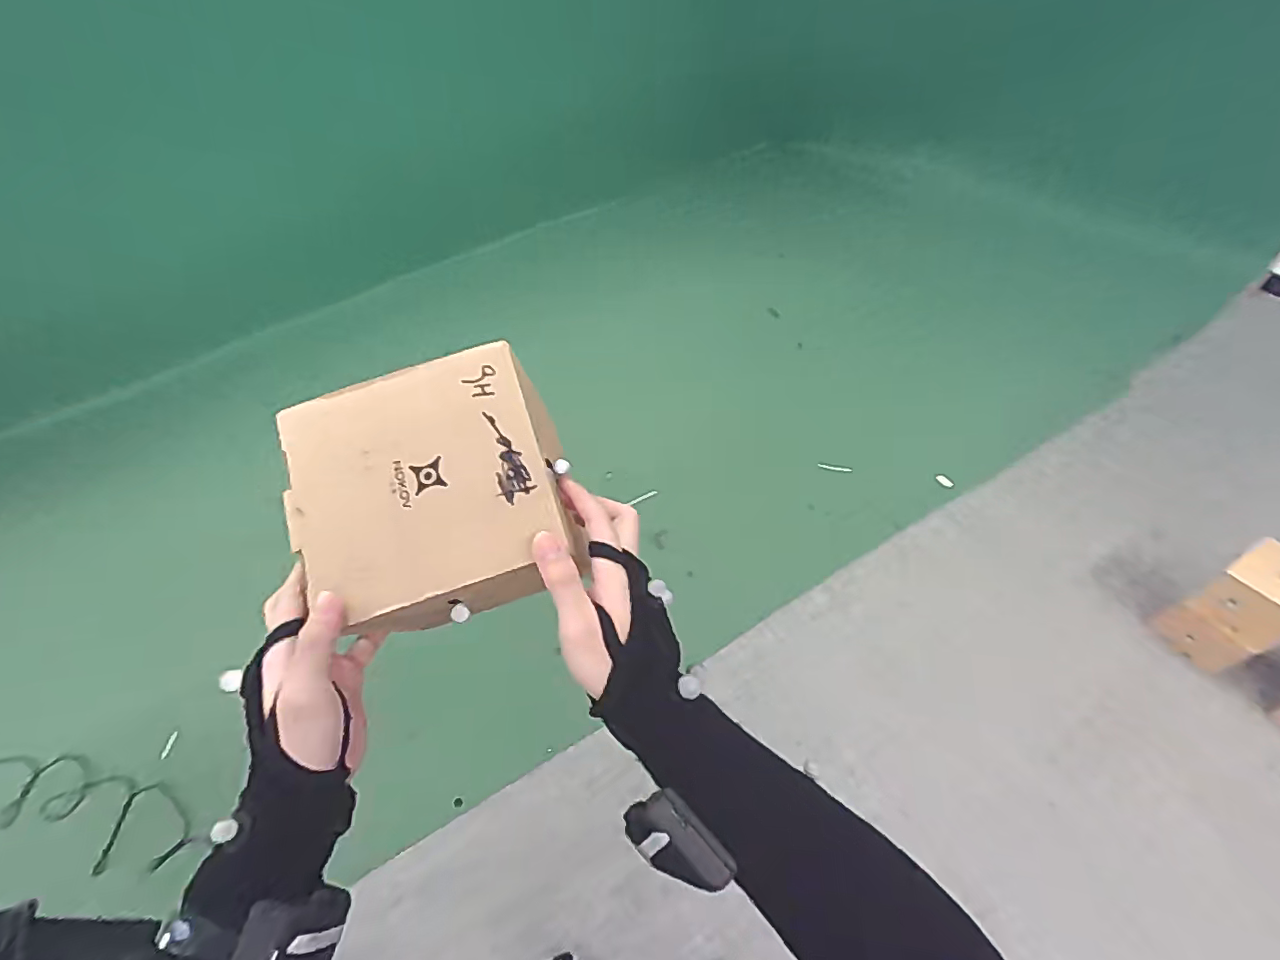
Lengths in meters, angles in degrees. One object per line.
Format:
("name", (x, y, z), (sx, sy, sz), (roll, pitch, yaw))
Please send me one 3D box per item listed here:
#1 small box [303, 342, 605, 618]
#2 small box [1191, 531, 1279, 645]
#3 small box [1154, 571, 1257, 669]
("small box", (-0.142, 0.016, 0.461), (0.179, 0.176, 0.168), (-18, 75, -1))
("small box", (1.496, 0.264, 1.297), (0.179, 0.176, 0.168), (-29, 51, -14))
("small box", (1.520, 0.366, 1.420), (0.179, 0.176, 0.168), (-27, 51, -12))
